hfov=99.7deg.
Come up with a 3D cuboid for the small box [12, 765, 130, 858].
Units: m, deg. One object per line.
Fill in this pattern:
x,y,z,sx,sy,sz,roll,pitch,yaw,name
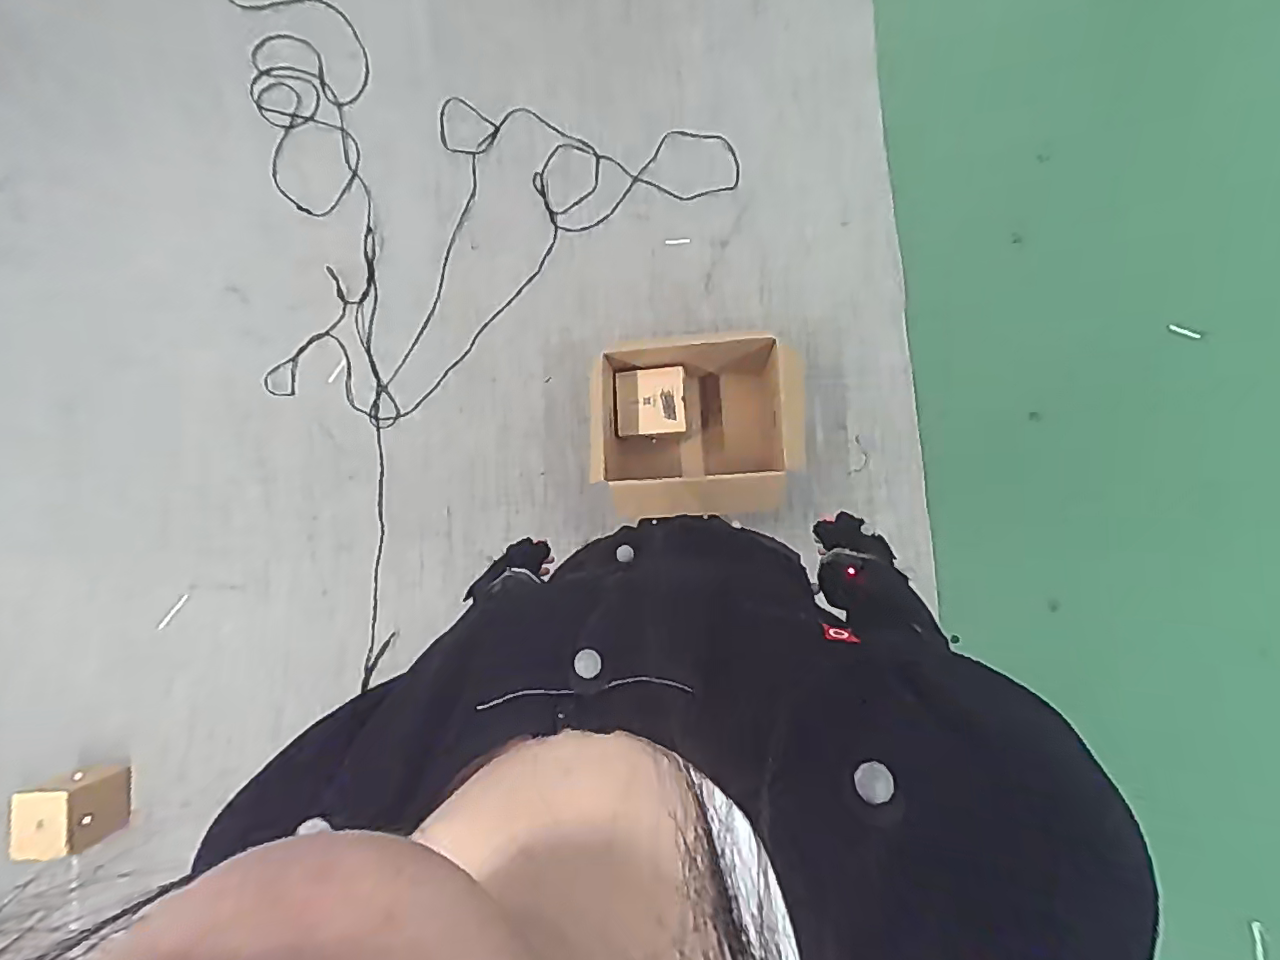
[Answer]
-1.596,0.924,1.525,0.168,0.176,0.179,-5,86,4,small box
